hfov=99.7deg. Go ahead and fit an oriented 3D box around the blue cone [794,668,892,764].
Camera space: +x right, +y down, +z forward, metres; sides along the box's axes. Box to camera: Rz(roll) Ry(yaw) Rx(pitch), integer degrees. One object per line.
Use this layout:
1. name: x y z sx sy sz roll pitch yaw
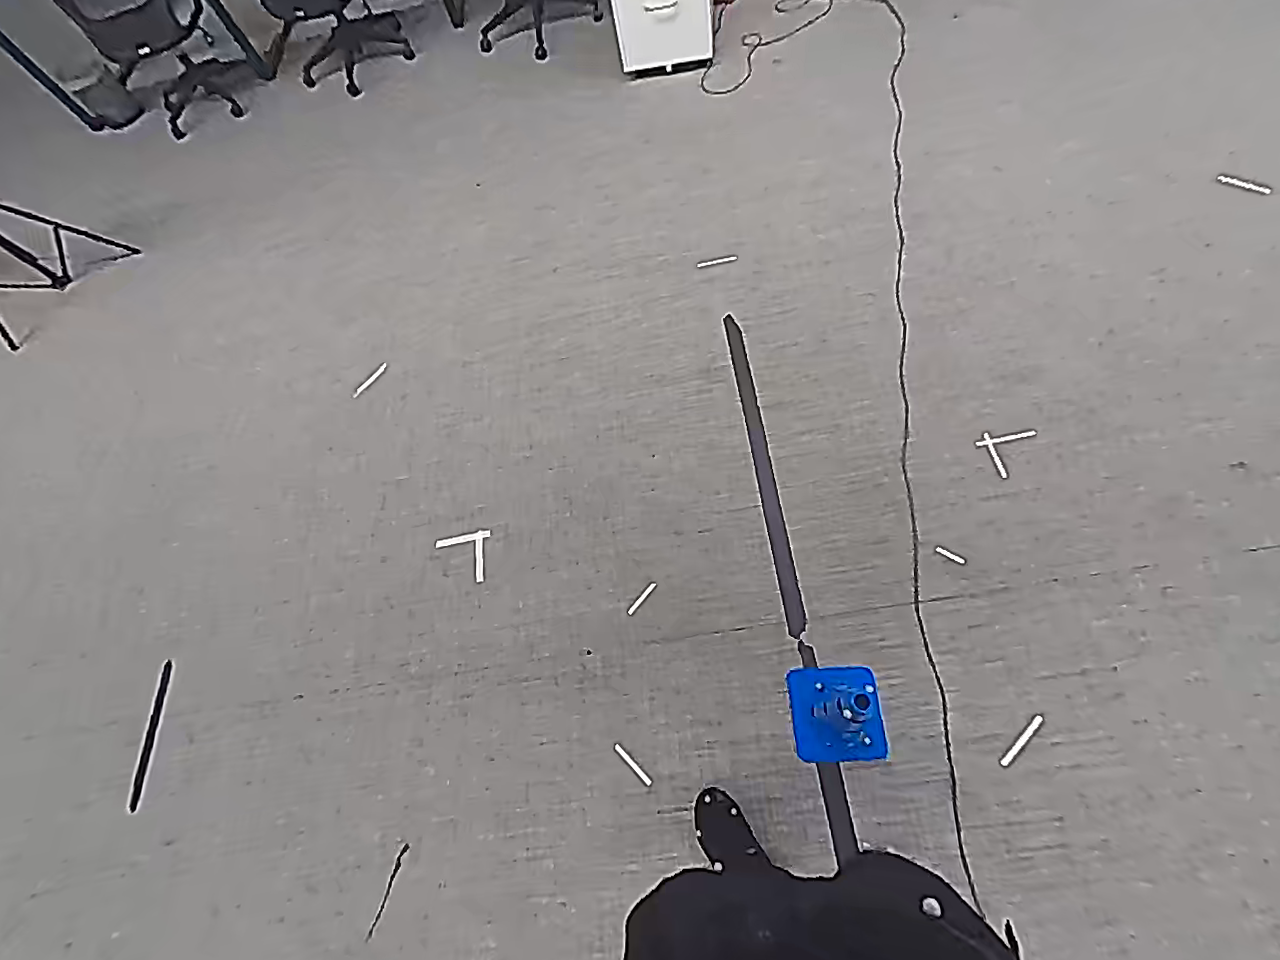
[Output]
1. blue cone: 0.427 0.460 1.082 0.193 0.380 0.192 -7 63 8
